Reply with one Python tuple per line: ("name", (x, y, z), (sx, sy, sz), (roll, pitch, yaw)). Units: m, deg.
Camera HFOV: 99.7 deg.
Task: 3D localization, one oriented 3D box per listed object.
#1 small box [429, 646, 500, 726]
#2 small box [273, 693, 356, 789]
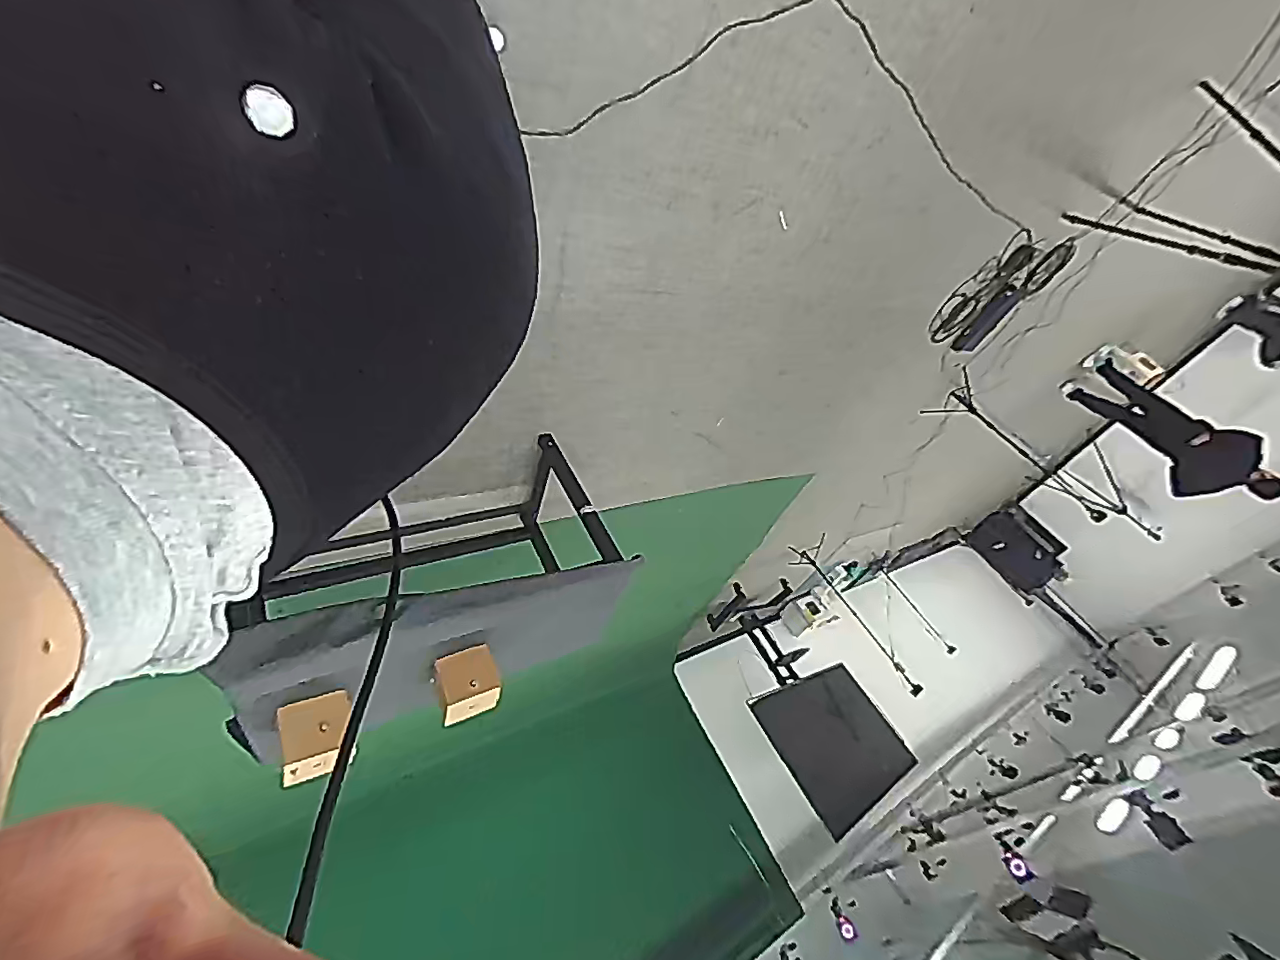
("small box", (-0.592, 0.686, 1.815), (0.179, 0.176, 0.168), (-10, 141, -32))
("small box", (-0.944, 0.747, 1.565), (0.179, 0.176, 0.168), (-7, 140, -39))
